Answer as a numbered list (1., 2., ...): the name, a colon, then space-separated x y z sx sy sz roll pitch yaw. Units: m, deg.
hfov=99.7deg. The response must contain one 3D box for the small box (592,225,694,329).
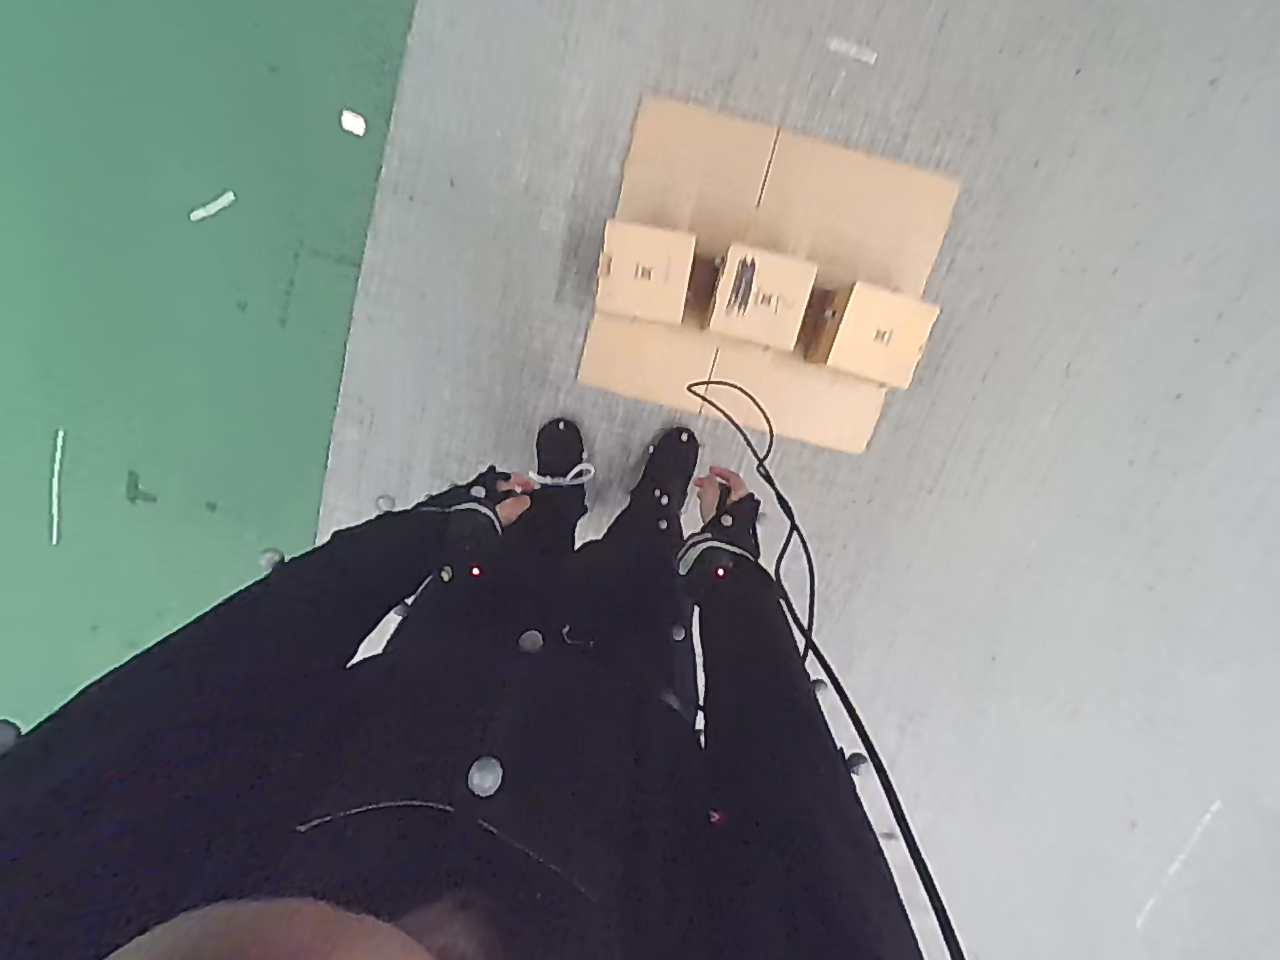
1. small box: 0.005 -0.408 1.115 0.179 0.176 0.168 9 104 -2

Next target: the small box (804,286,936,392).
1. small box: 0.466 -0.288 1.130 0.179 0.176 0.168 16 103 -3
